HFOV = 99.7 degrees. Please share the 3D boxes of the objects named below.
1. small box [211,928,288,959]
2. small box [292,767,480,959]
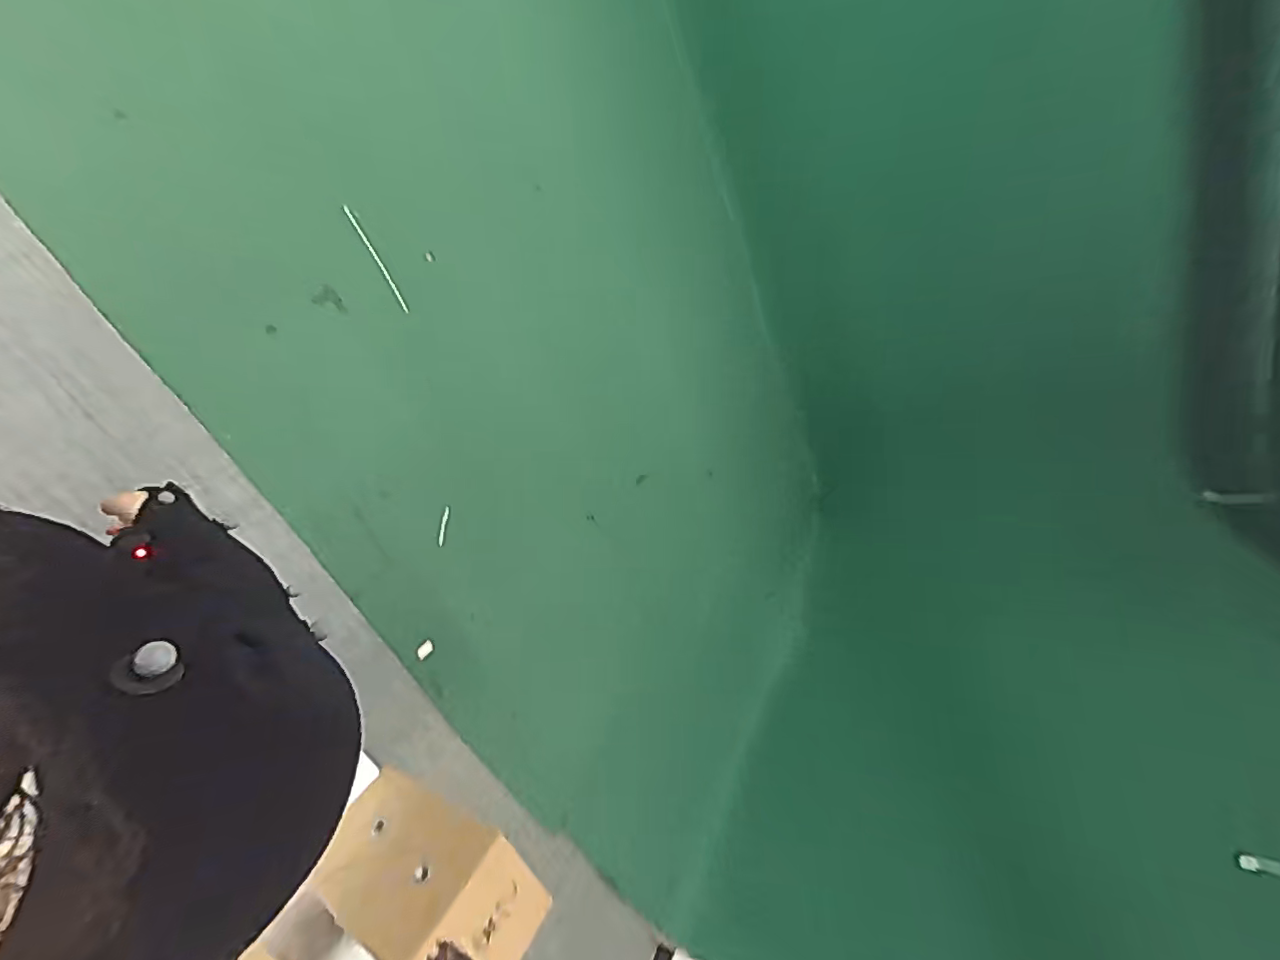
[{"bbox_3d":[-0.512,0.734,0.692,0.179,0.176,0.168,-46,121,-45],"label":"small box"},{"bbox_3d":[-0.399,0.593,0.856,0.179,0.176,0.168,-47,121,-43],"label":"small box"}]
